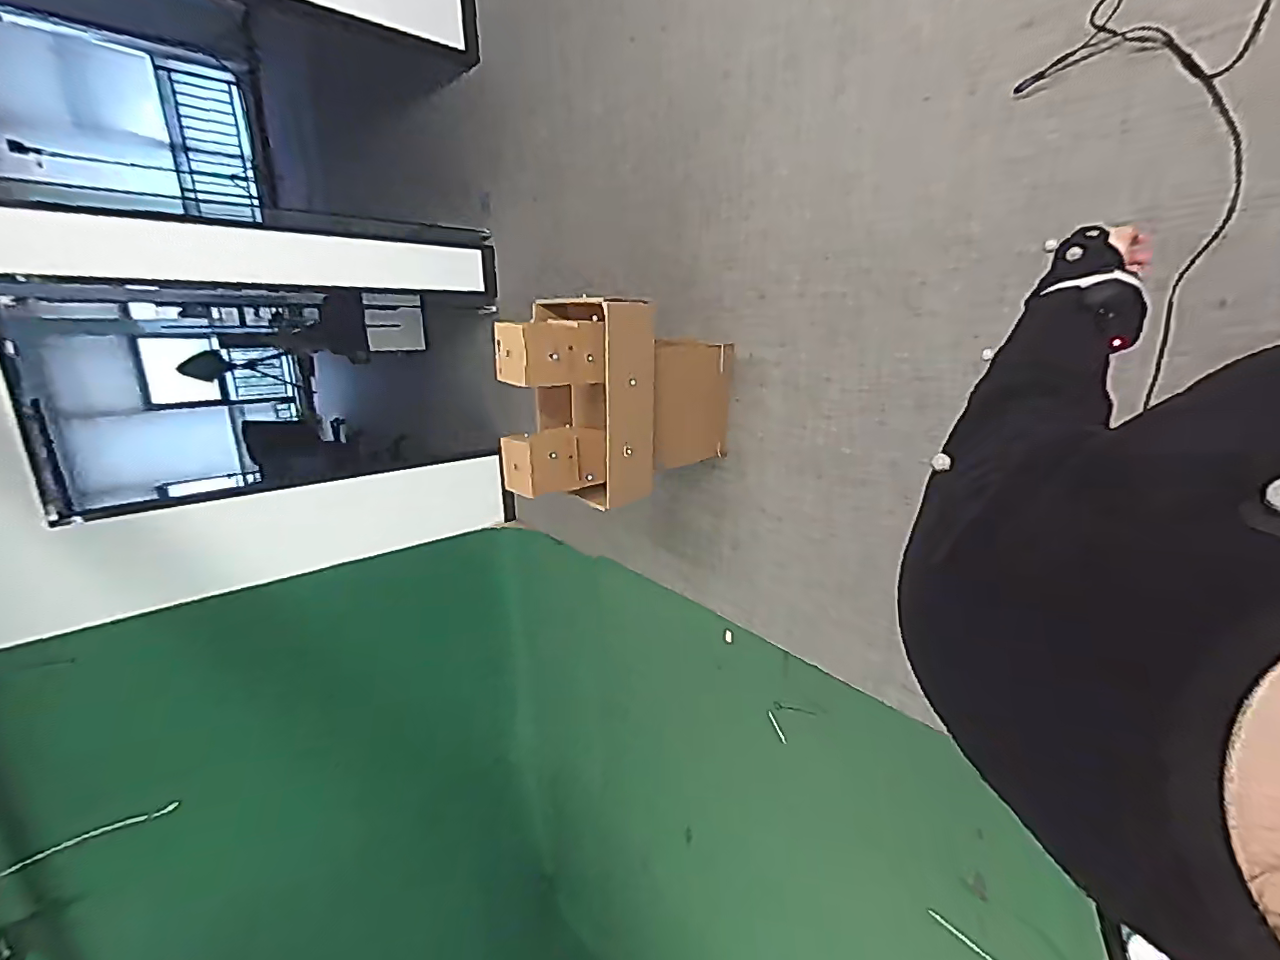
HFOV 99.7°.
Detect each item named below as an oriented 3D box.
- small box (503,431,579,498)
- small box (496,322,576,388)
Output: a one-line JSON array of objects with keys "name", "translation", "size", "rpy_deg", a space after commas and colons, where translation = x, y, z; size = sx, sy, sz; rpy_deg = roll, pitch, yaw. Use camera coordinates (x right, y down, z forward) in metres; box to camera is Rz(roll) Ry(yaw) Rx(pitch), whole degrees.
[{"name": "small box", "translation": [-0.298, -0.055, 1.654], "size": [0.179, 0.176, 0.168], "rpy_deg": [14, 111, 49]}, {"name": "small box", "translation": [-0.296, -0.366, 1.560], "size": [0.179, 0.176, 0.168], "rpy_deg": [22, 116, 46]}]
